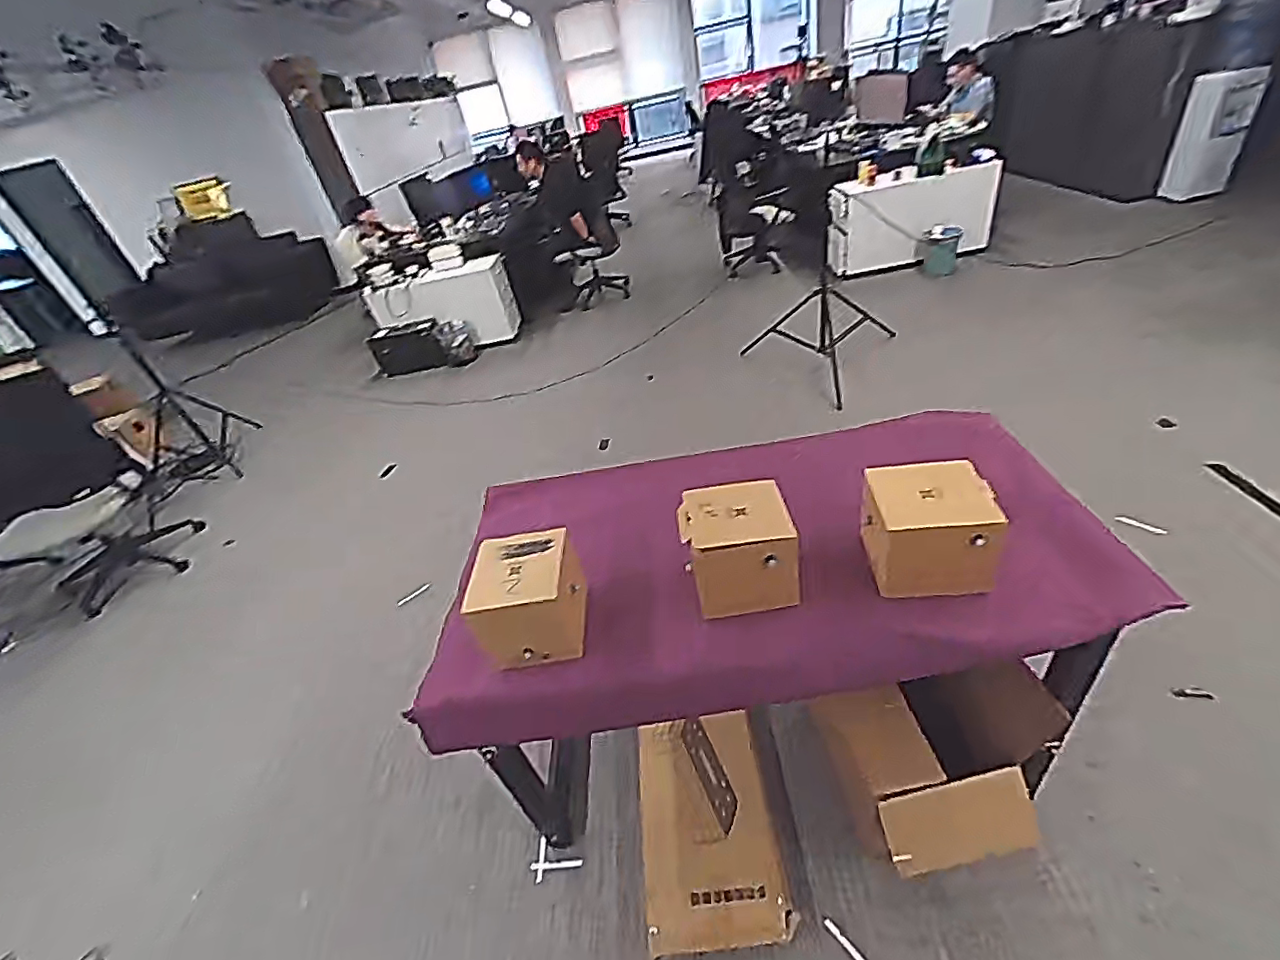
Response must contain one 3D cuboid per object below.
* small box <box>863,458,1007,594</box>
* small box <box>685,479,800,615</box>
[{"bbox_3d":[0.497,0.083,0.942,0.179,0.176,0.168,-6,37,10],"label":"small box"},{"bbox_3d":[0.184,0.123,0.988,0.179,0.176,0.168,-10,34,5],"label":"small box"}]
